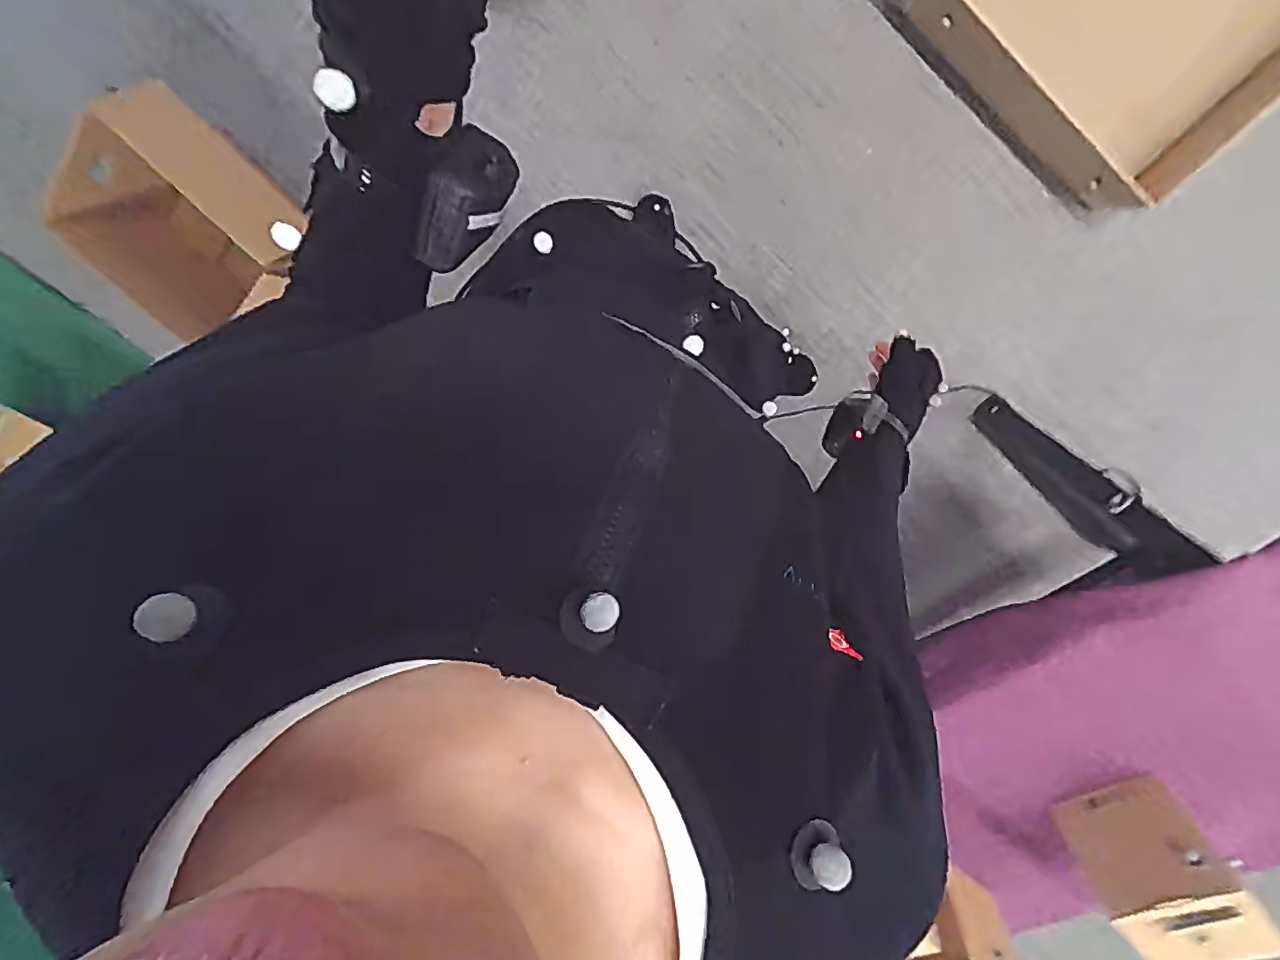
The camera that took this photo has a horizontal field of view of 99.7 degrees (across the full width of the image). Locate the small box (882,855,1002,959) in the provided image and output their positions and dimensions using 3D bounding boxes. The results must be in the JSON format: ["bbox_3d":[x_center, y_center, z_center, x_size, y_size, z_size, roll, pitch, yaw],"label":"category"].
[{"bbox_3d":[0.536,0.835,0.993,0.179,0.176,0.168,42,115,-12],"label":"small box"}]
